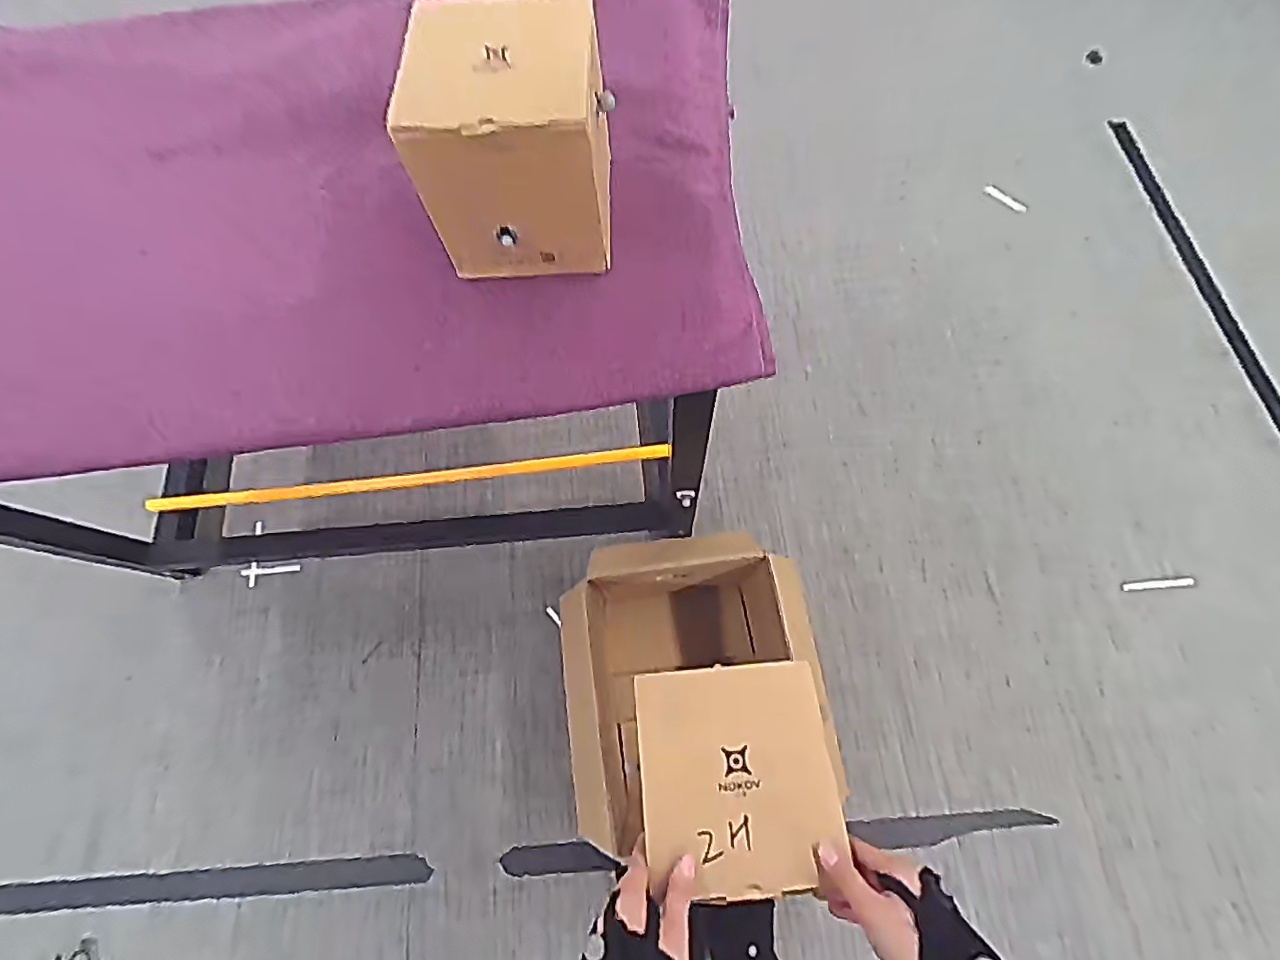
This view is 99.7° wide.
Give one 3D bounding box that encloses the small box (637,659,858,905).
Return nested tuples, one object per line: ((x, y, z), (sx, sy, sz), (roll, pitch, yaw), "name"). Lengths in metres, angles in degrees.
((0.087, 0.286, 0.529), (0.168, 0.176, 0.179), (-6, 62, 1), "small box")

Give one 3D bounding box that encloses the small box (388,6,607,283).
((-0.124, -0.327, 0.546), (0.168, 0.176, 0.179), (-2, 69, 2), "small box")
